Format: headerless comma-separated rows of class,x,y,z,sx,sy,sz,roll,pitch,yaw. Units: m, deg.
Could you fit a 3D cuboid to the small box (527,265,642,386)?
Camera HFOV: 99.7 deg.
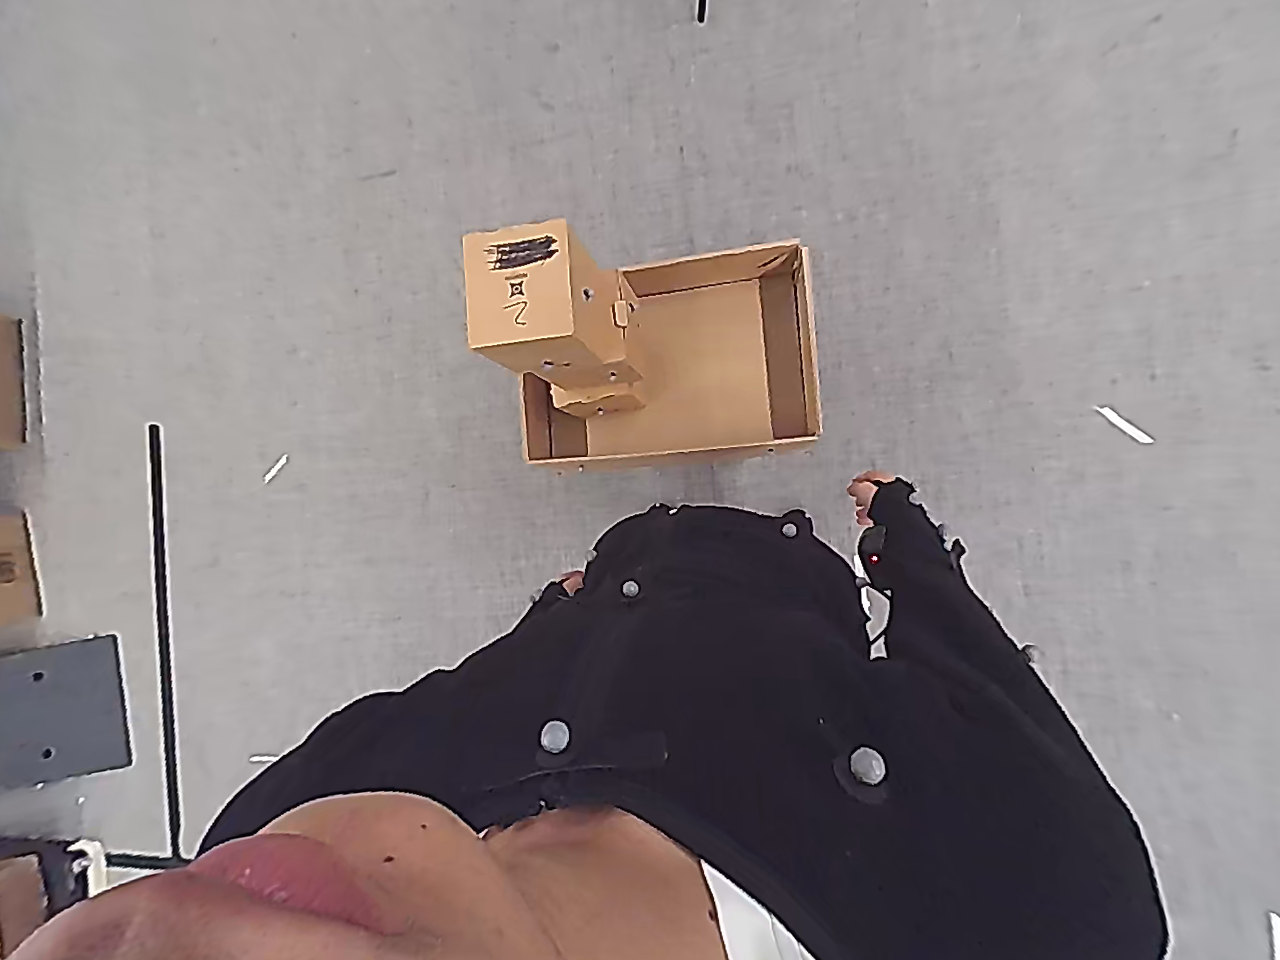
small box,-0.094,-0.279,1.011,0.179,0.176,0.168,-5,87,11

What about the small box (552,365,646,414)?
small box,-0.091,-0.251,1.176,0.168,0.176,0.179,-9,87,12
